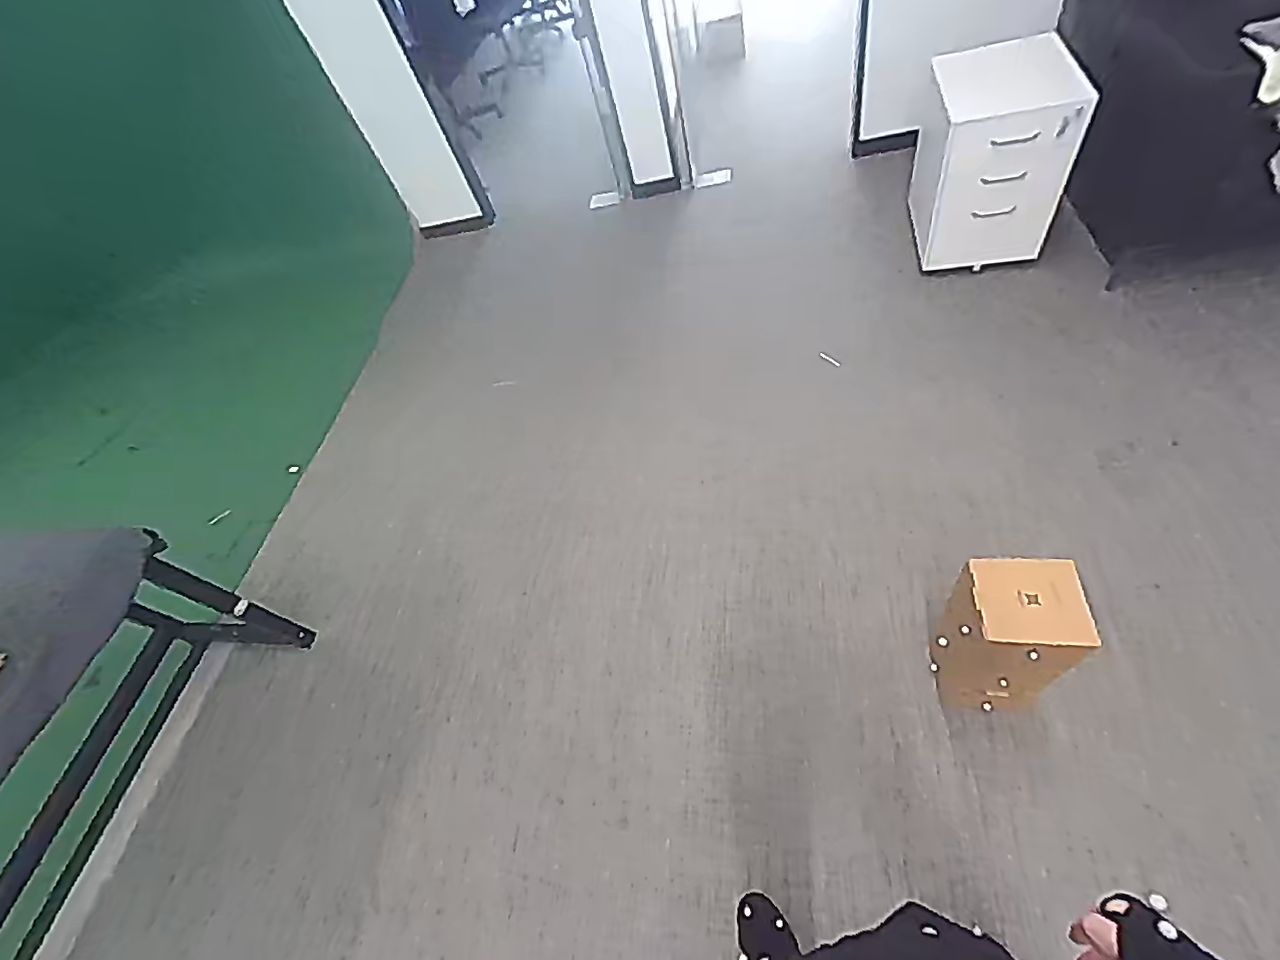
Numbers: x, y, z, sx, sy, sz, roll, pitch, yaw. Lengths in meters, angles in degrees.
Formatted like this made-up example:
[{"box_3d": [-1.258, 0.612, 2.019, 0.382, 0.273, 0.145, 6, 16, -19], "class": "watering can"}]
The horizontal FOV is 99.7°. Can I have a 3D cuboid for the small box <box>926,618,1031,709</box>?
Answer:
[{"box_3d": [0.812, 0.446, 1.316, 0.168, 0.176, 0.179, -1, 55, 15], "class": "small box"}]

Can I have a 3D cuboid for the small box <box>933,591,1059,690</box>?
[{"box_3d": [0.768, 0.353, 1.187, 0.179, 0.176, 0.168, -2, 54, 15], "class": "small box"}]

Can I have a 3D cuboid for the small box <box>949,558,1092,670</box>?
[{"box_3d": [0.725, 0.265, 1.059, 0.179, 0.176, 0.168, -1, 56, 14], "class": "small box"}]
